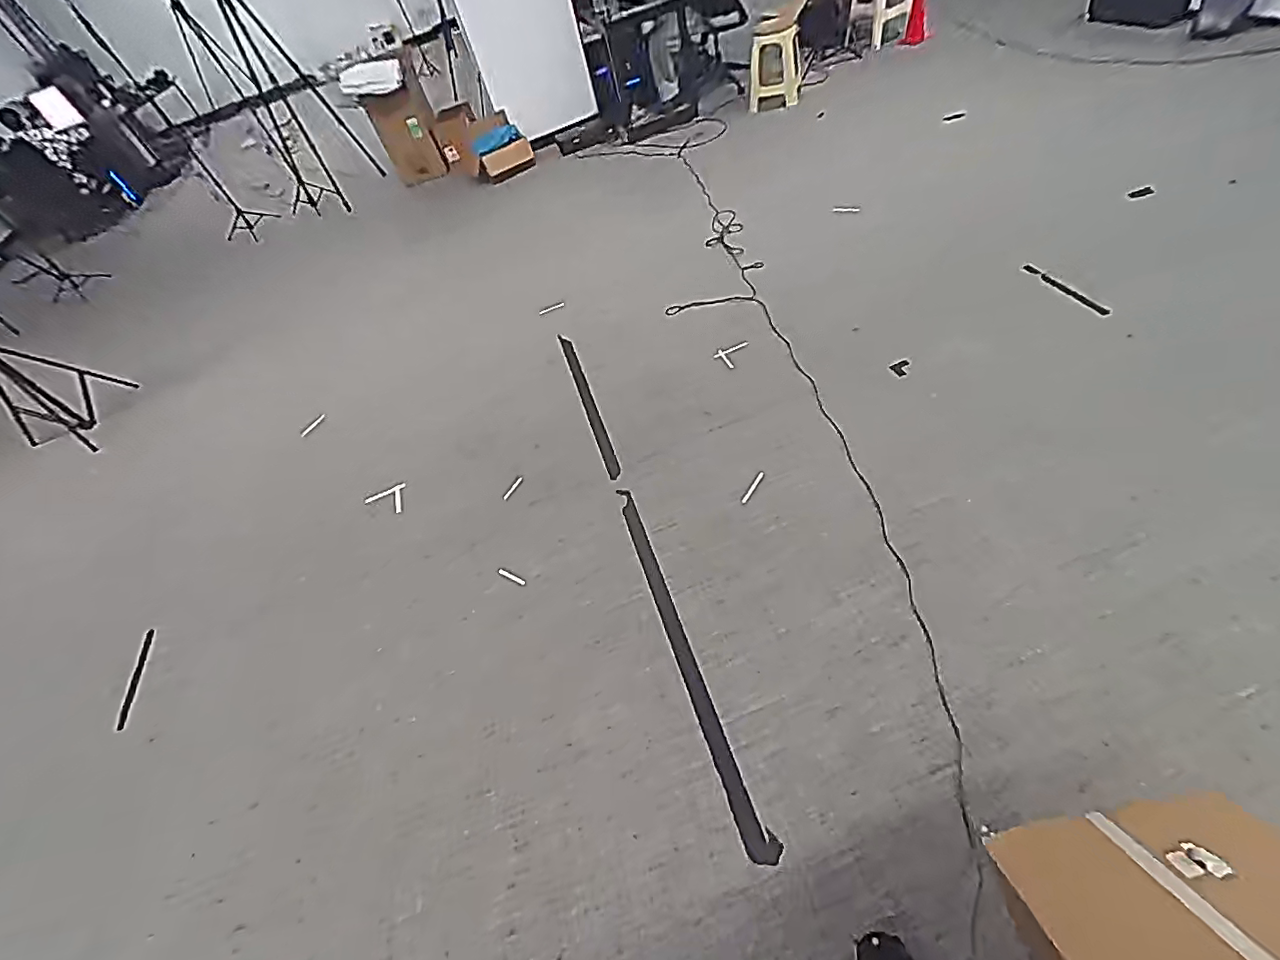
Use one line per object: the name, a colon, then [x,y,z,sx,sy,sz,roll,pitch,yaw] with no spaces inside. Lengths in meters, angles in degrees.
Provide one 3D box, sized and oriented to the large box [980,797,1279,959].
large box: [0.661,0.621,0.574,0.320,0.408,0.320,-18,81,9]
